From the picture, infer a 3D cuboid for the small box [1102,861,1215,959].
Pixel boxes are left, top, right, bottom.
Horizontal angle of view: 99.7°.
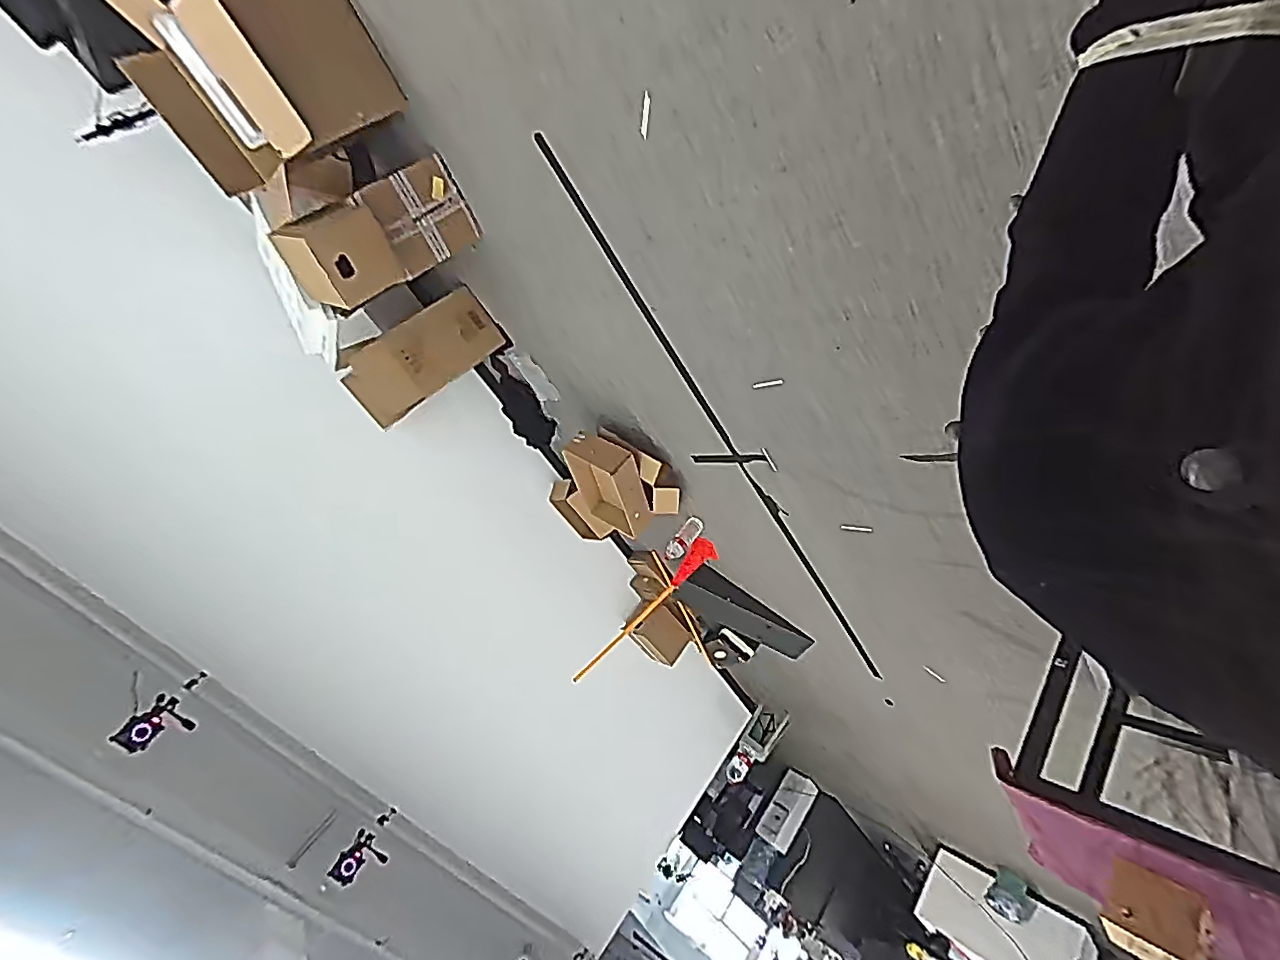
[{"bbox_3d":[1.333,1.125,1.390,0.179,0.176,0.168,3,135,54],"label":"small box"}]
